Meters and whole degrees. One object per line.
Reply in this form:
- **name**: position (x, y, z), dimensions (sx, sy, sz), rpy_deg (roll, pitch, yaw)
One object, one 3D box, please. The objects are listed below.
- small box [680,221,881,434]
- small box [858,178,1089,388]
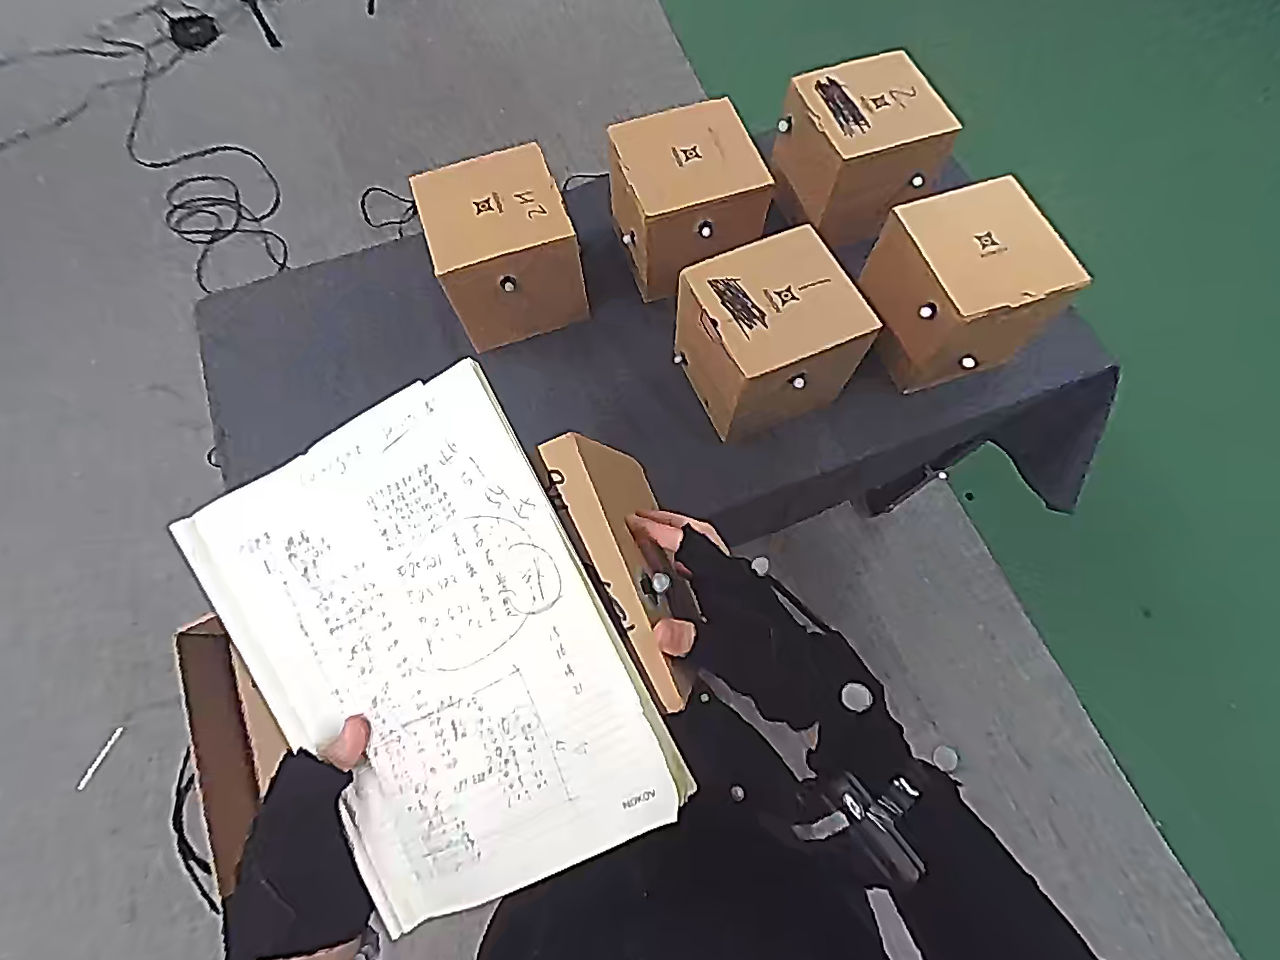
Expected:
- **small box**: position (0.160, -0.182, 0.687), dimensions (0.179, 0.176, 0.168), rpy_deg (-22, 71, -8)
- **small box**: position (0.411, -0.251, 0.712), dimensions (0.168, 0.176, 0.179), rpy_deg (-17, 70, -5)
